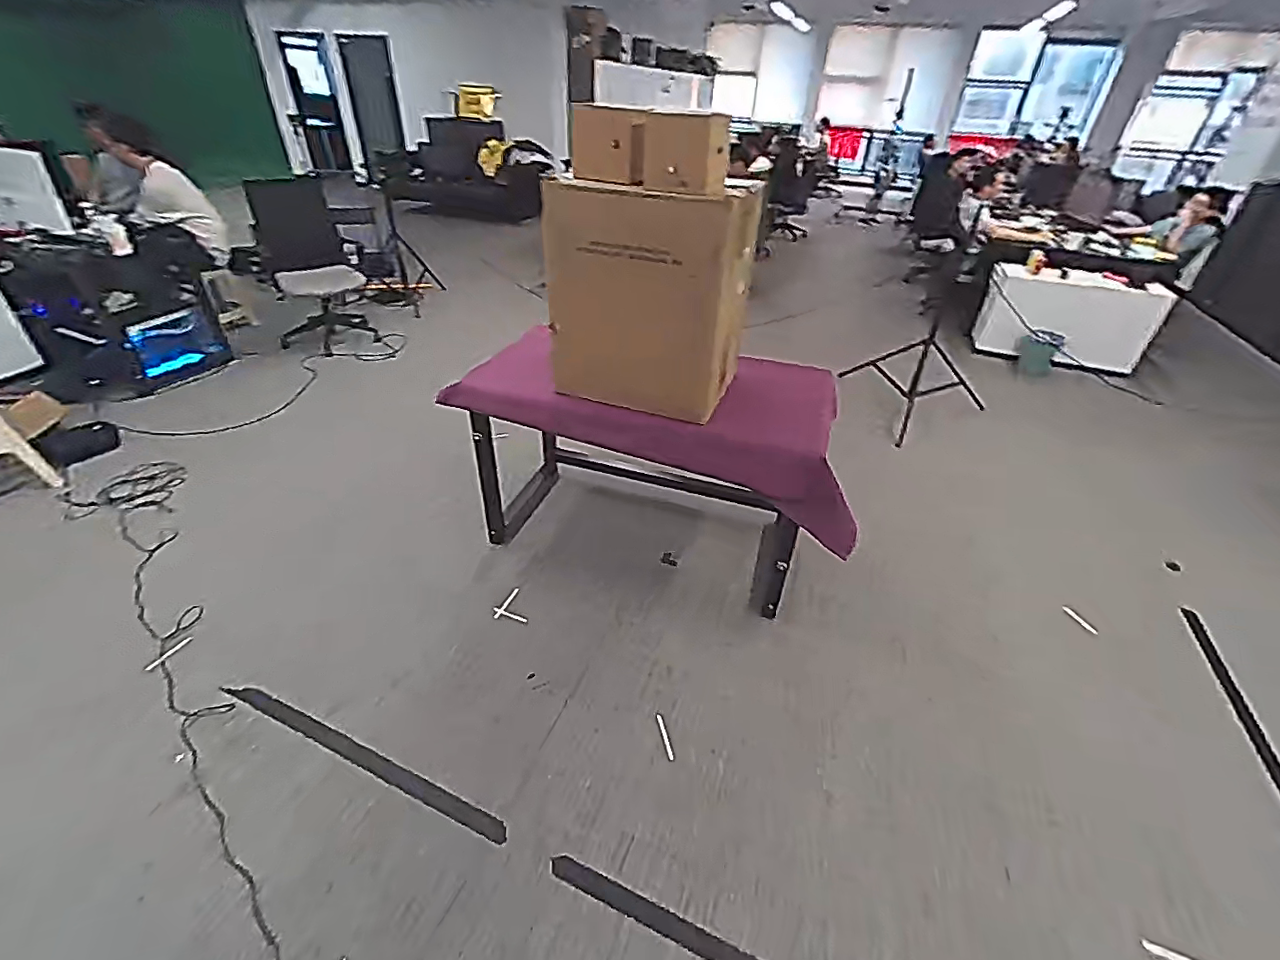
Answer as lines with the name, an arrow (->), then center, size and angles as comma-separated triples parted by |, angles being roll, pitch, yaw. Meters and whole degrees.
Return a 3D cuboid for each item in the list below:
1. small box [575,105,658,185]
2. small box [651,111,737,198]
small box -> -0.061, -0.902, 1.457 | 0.179, 0.176, 0.168 | 16, 37, 17
small box -> 0.131, -0.820, 1.358 | 0.168, 0.176, 0.179 | 15, 38, 19
